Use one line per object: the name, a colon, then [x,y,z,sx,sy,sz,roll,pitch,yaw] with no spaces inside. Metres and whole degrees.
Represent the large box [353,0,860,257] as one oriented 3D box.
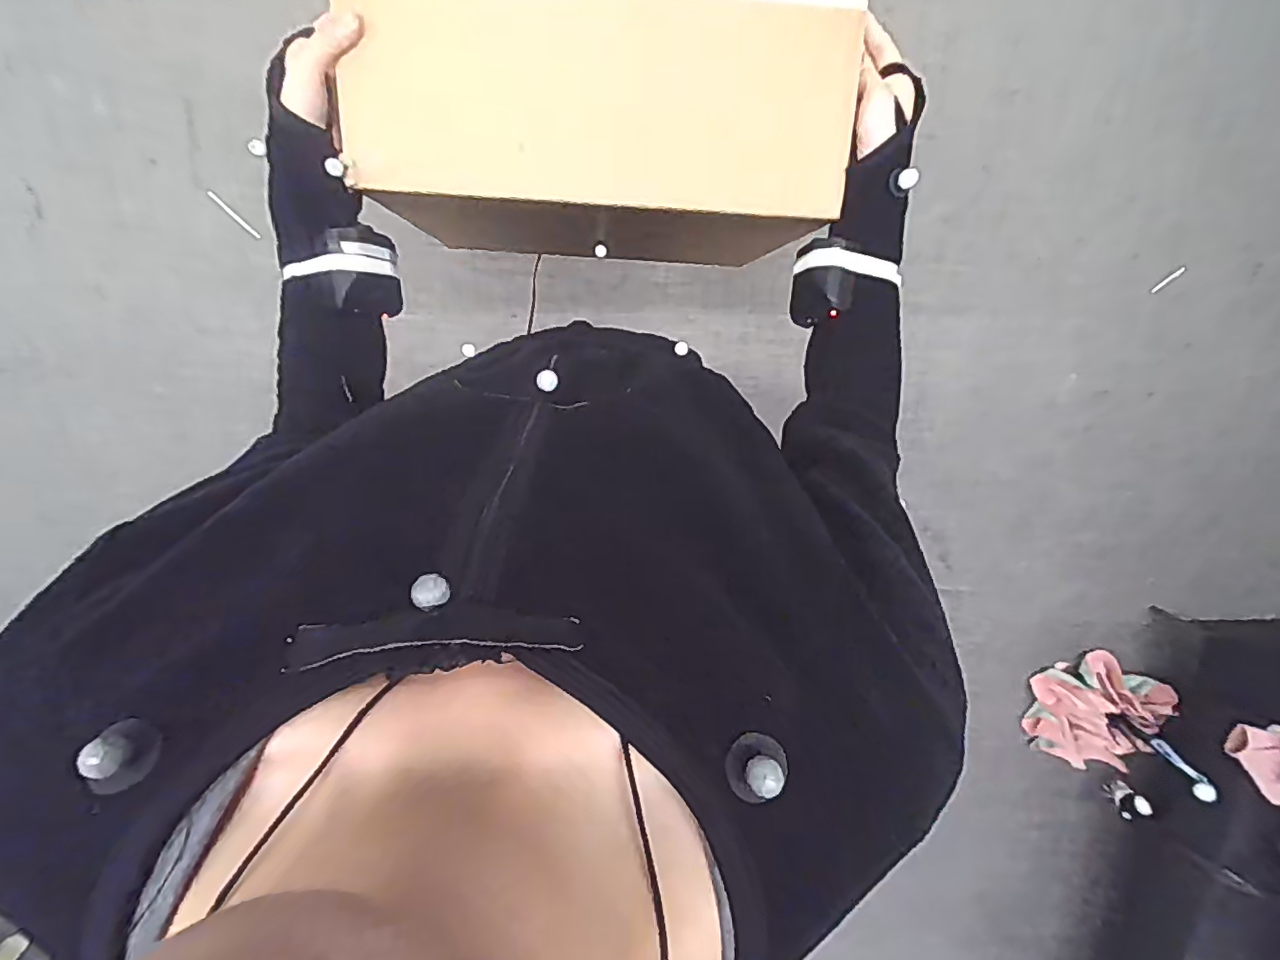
large box: [-0.029,-0.420,0.563,0.408,0.320,0.320,1,104,-5]
